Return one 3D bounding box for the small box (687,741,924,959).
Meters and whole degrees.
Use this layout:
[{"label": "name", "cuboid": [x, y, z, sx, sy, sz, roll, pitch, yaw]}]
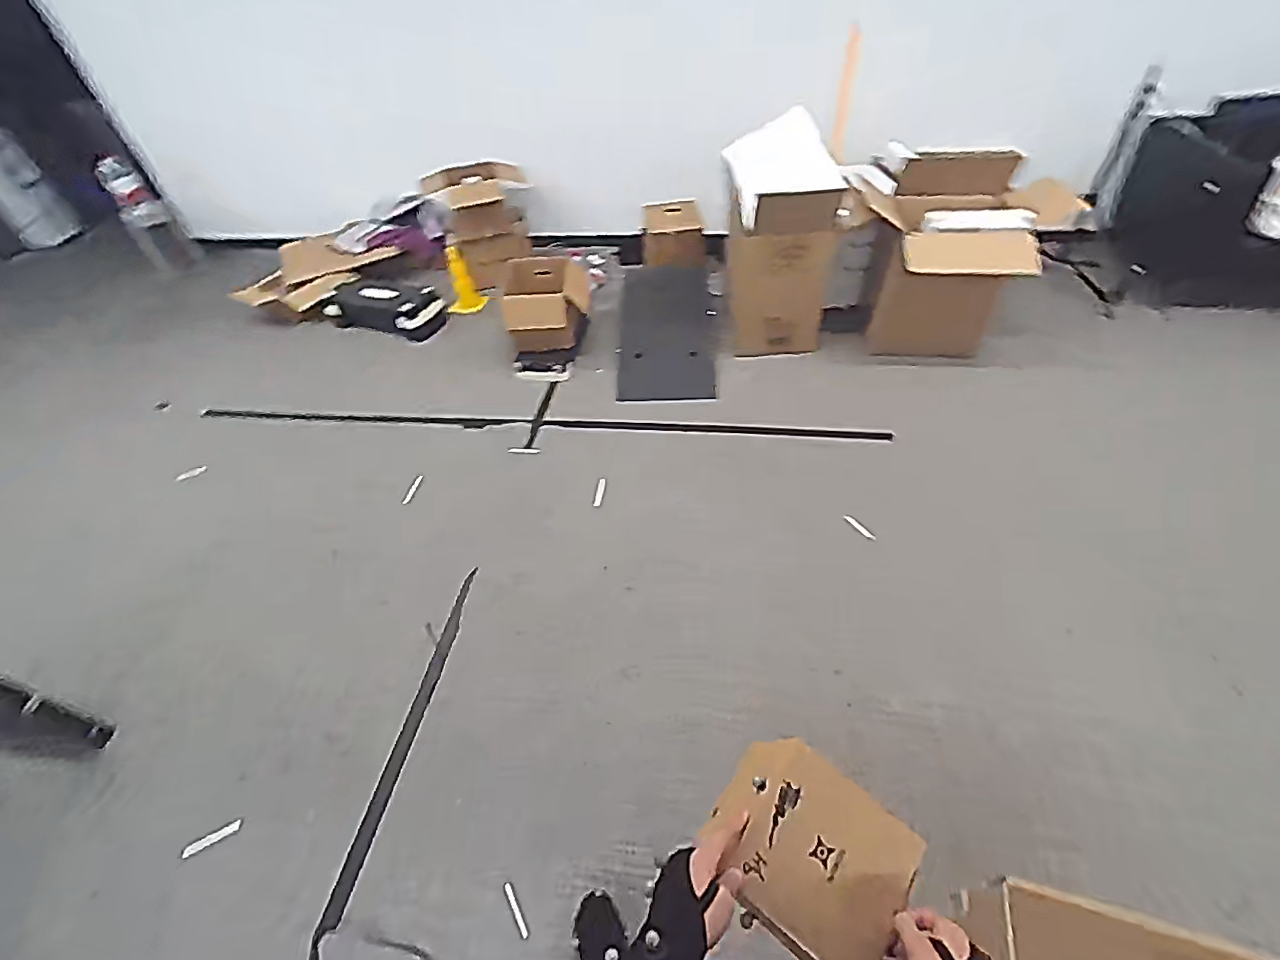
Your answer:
[{"label": "small box", "cuboid": [0.181, 0.435, 0.632, 0.179, 0.176, 0.168, 36, 61, 11]}]
